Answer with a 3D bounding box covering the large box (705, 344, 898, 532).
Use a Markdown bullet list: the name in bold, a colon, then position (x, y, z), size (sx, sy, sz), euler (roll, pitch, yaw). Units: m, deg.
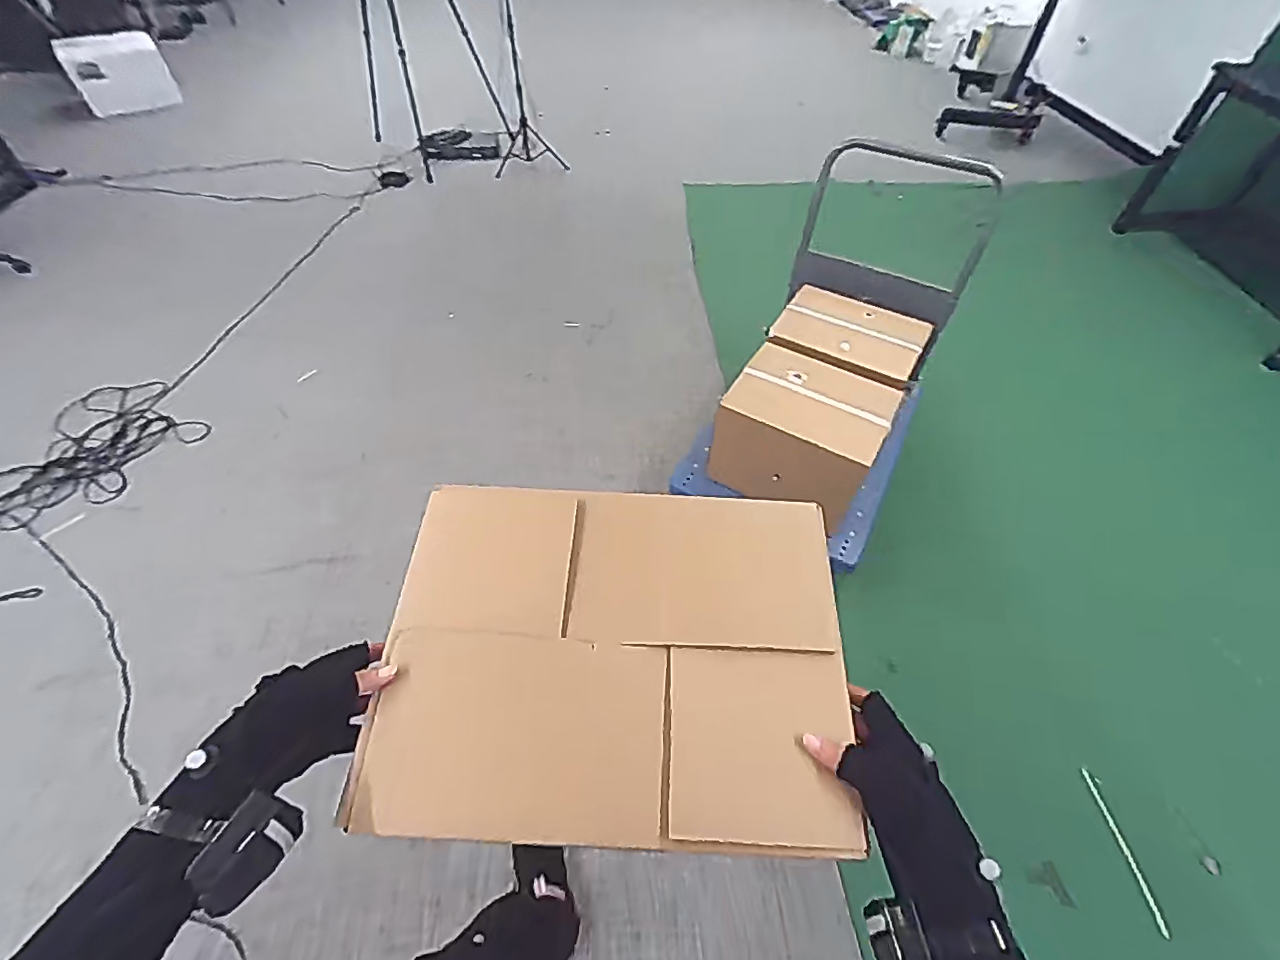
- **large box**: position (0.439, -0.119, 1.528), size (0.408, 0.320, 0.320), euler (26, 55, 20)
